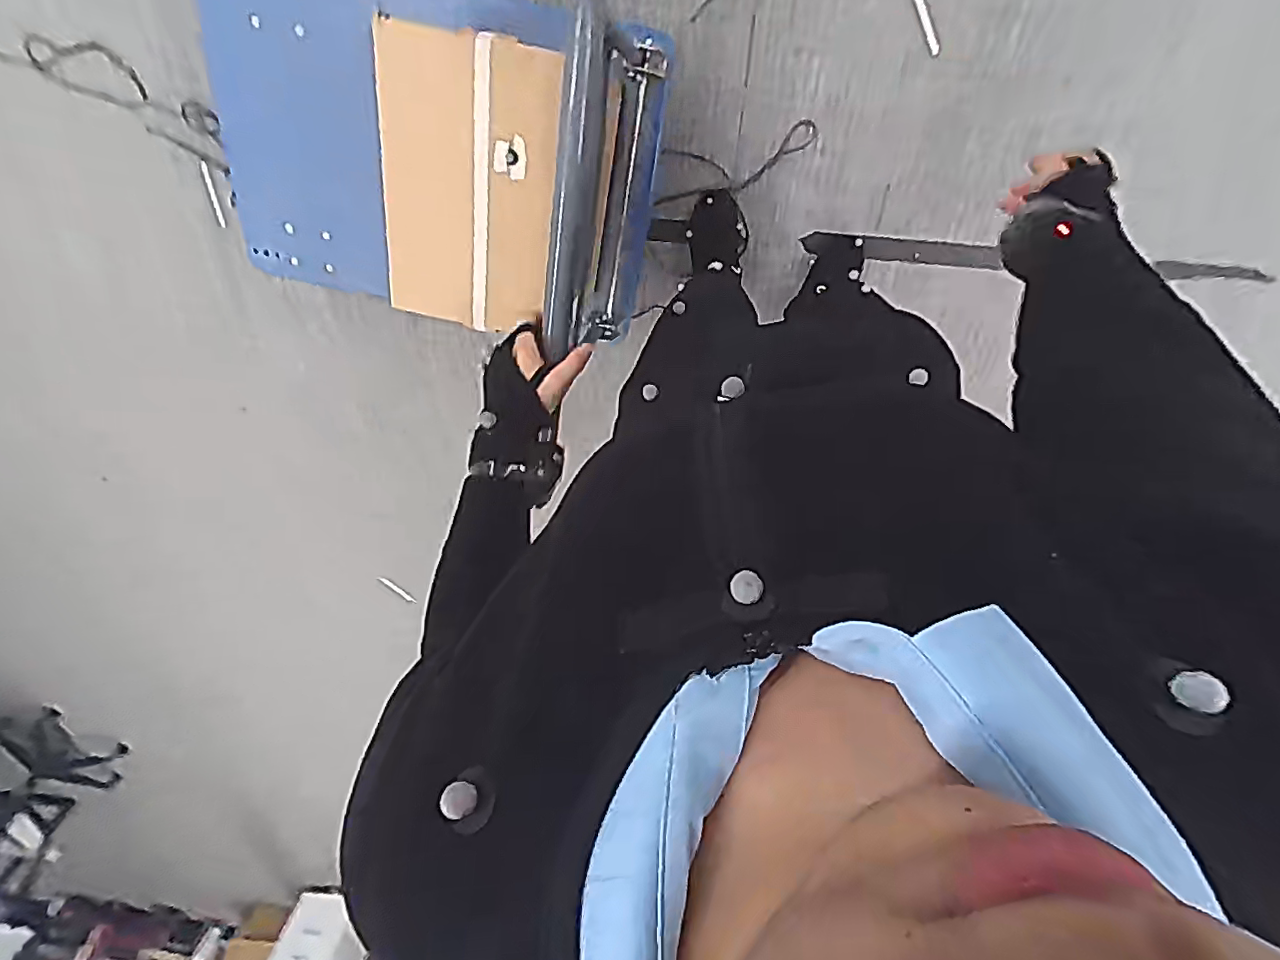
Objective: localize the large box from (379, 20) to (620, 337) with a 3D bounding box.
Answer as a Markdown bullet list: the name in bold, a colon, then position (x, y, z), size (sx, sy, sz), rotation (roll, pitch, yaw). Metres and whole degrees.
- **large box**: position (-0.229, -0.519, 0.978), size (0.320, 0.320, 0.408), rotation (11, 122, -2)
